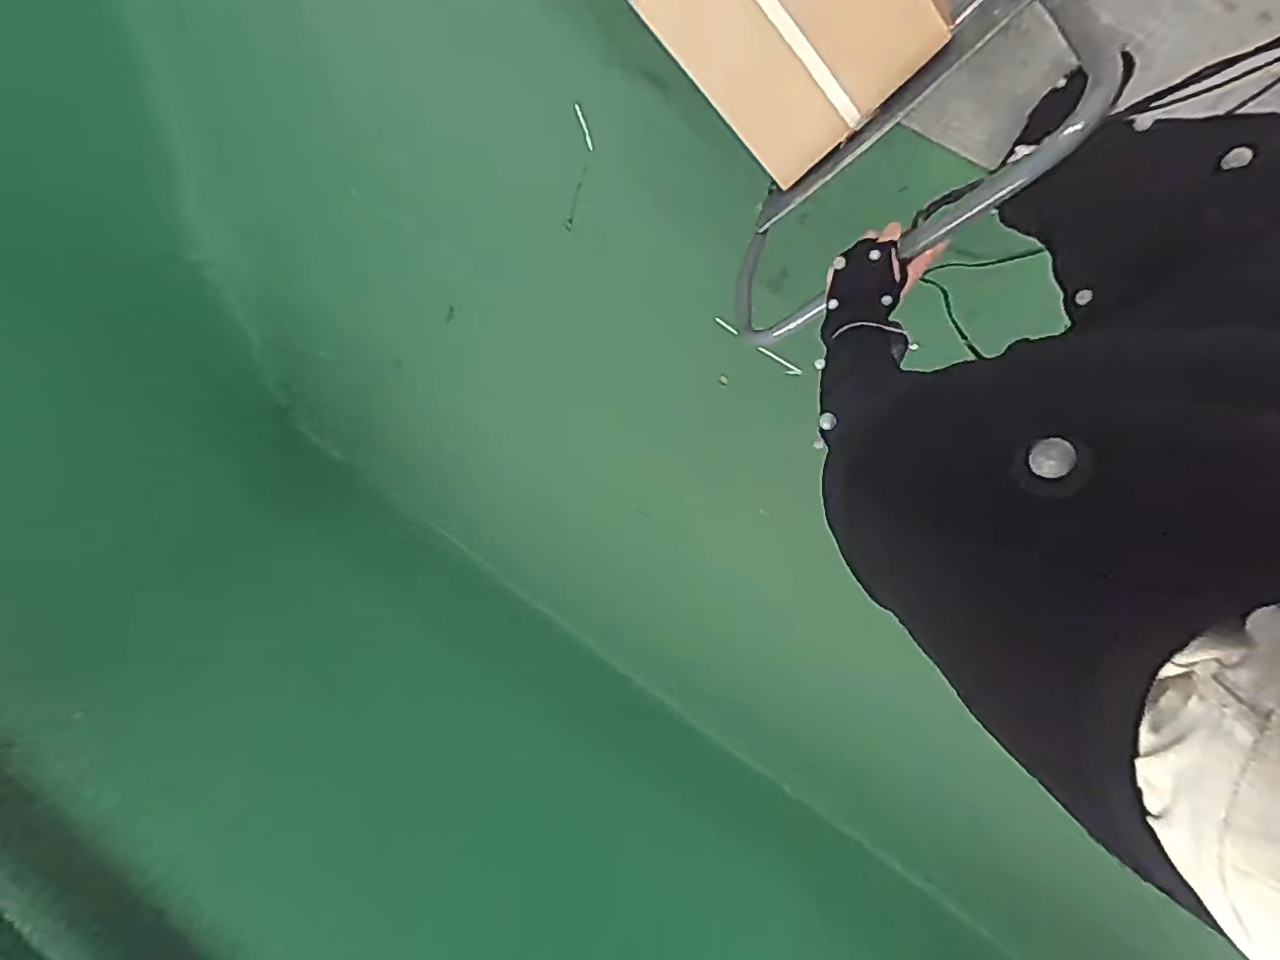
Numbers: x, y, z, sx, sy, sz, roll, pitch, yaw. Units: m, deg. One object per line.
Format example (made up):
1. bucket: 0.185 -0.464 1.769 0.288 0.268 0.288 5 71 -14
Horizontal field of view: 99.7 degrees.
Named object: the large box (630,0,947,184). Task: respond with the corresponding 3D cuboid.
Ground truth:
1. large box: 0.267 -0.823 0.928 0.408 0.320 0.320 40 139 -18
